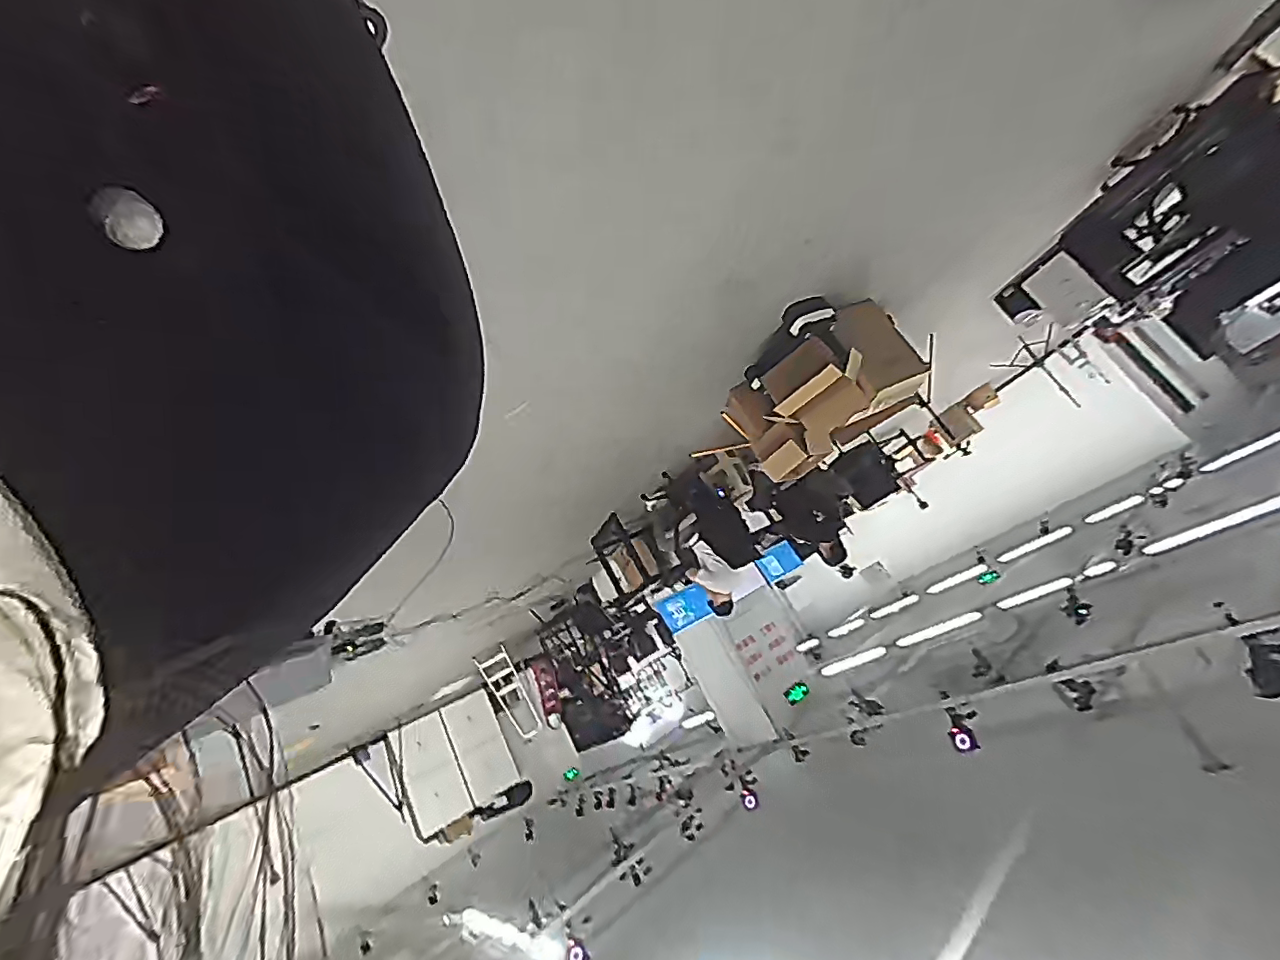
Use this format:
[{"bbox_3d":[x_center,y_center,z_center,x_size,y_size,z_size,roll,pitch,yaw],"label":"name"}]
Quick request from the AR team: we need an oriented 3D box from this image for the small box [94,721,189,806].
[{"bbox_3d":[-1.547,0.878,1.682,0.179,0.176,0.168,-16,156,-36],"label":"small box"}]
